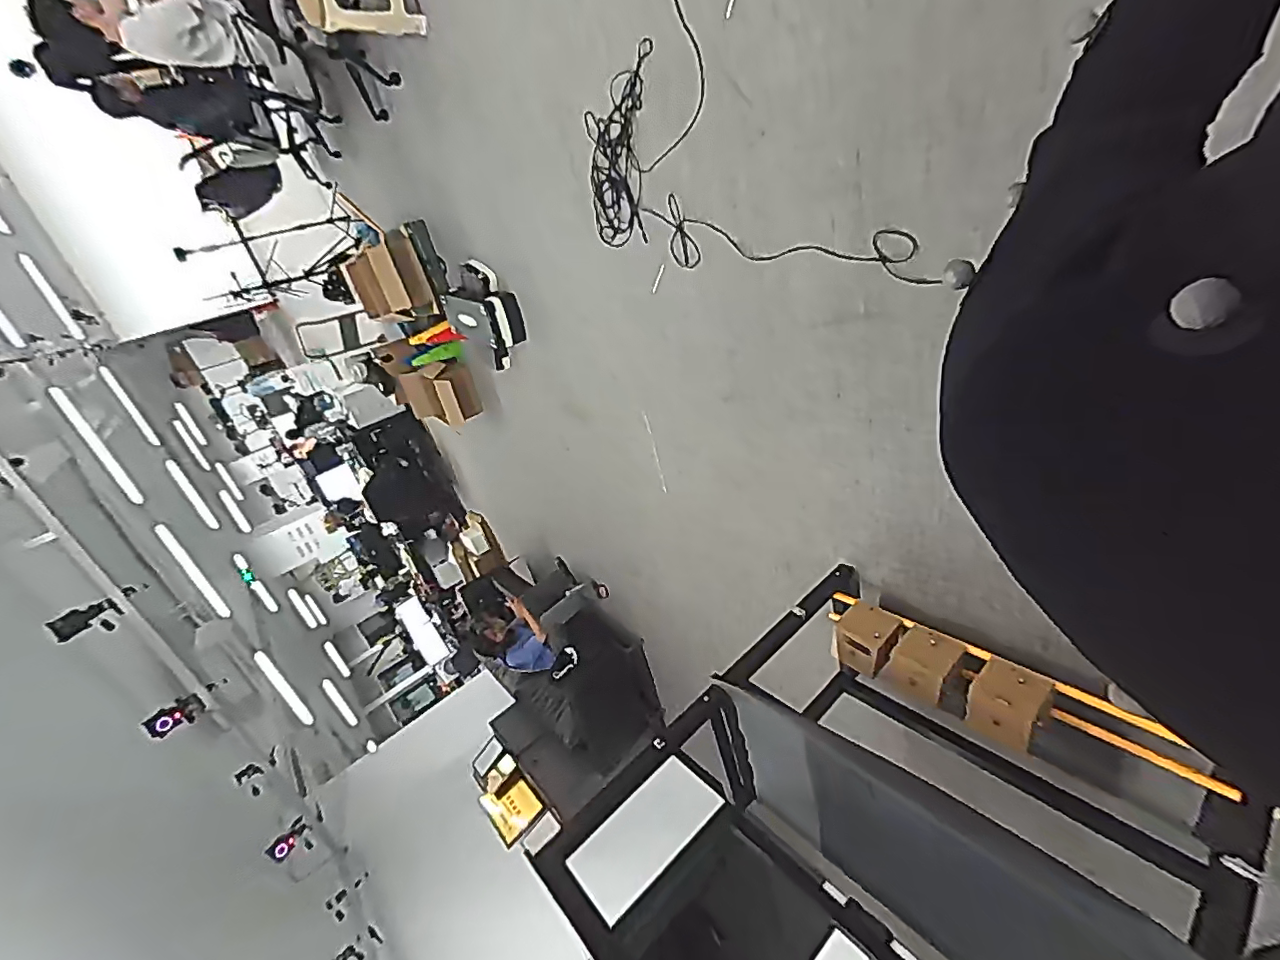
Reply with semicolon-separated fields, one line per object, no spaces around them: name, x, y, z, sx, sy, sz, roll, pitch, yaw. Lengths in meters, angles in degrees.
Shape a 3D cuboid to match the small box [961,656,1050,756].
small box;1.089;0.667;1.612;0.168;0.176;0.179;22;132;49
